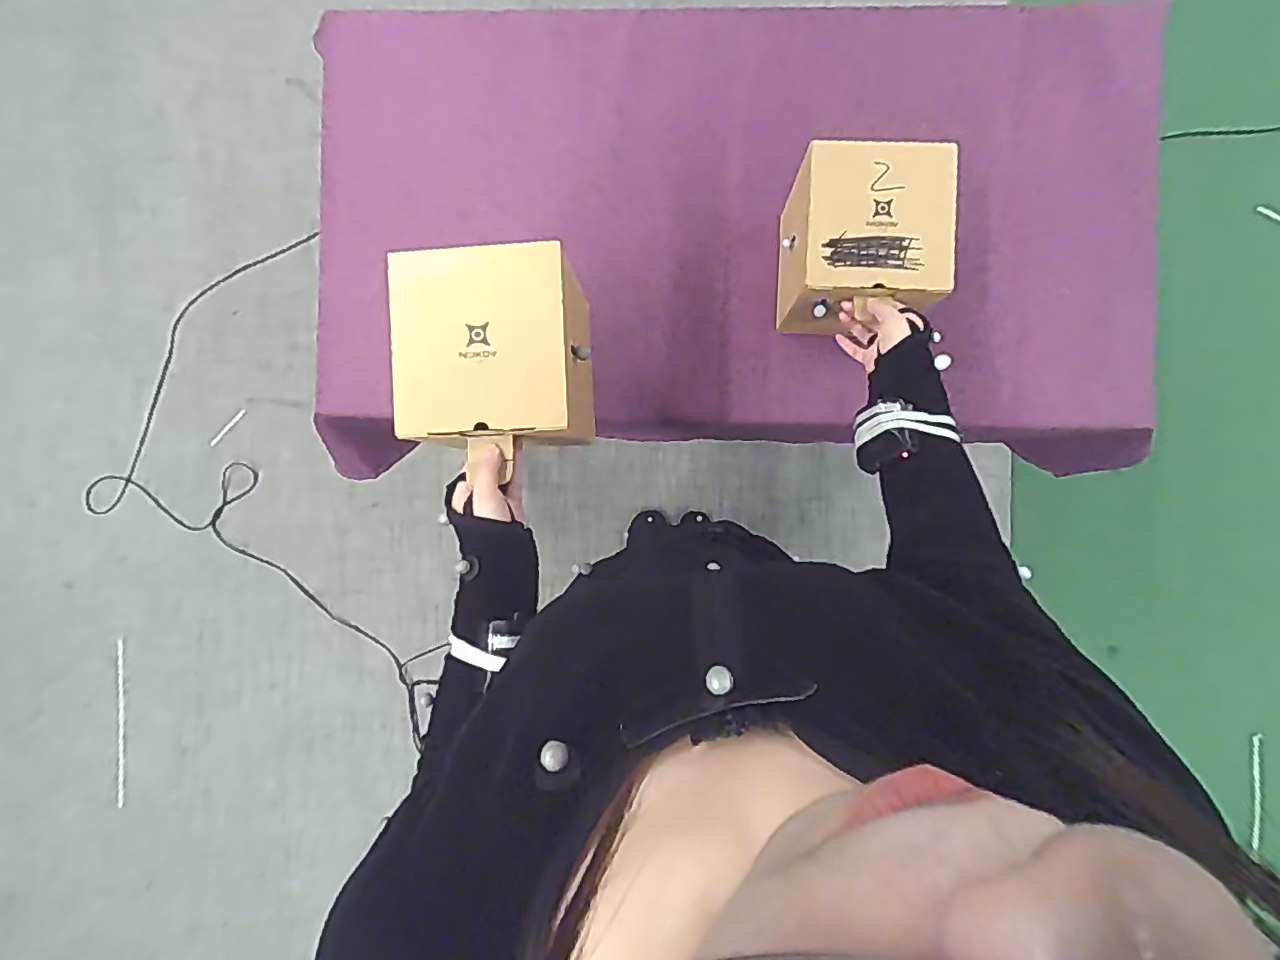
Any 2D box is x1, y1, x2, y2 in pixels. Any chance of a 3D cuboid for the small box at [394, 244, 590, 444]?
[{"bbox_3d":[-0.149,-0.135,0.595,0.168,0.176,0.179,-2,90,3],"label":"small box"}]
